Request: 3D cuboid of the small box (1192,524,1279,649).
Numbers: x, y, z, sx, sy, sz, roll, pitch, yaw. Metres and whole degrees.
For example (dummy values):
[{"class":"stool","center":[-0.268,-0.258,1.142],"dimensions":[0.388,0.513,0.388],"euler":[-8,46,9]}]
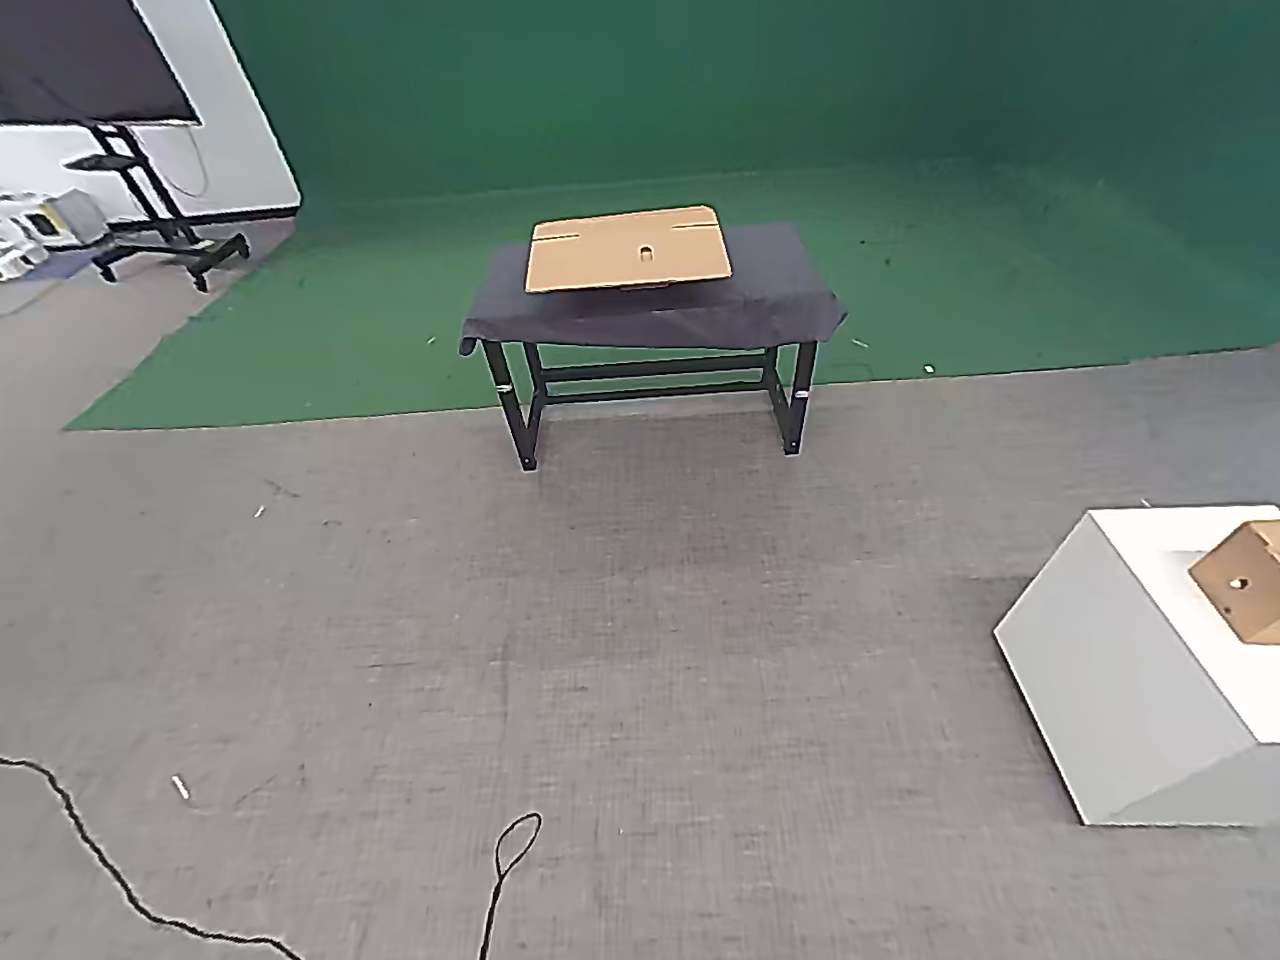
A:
[{"class":"small box","center":[1.191,0.198,0.994],"dimensions":[0.179,0.176,0.168],"euler":[-1,45,3]}]
